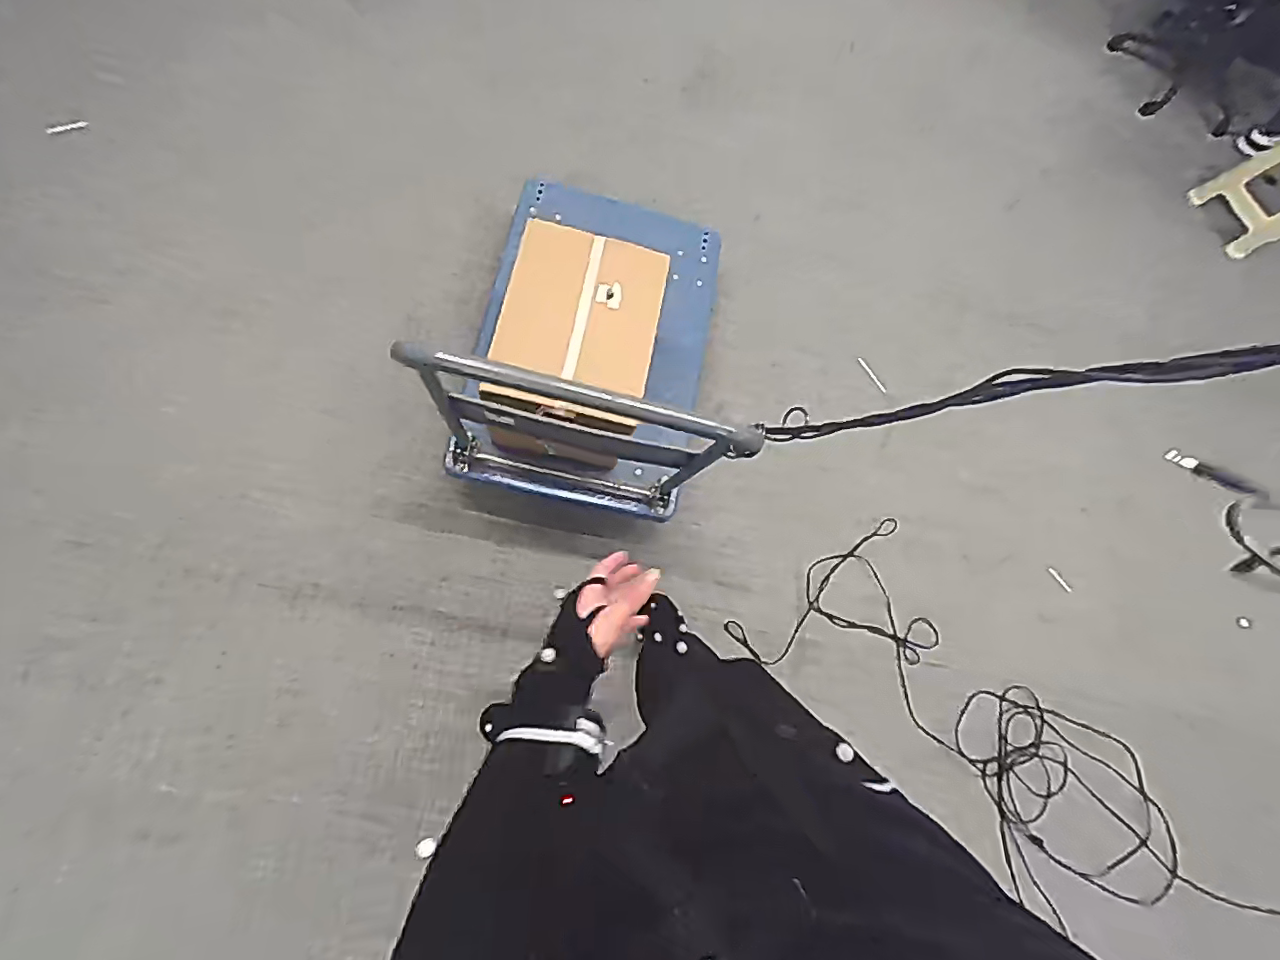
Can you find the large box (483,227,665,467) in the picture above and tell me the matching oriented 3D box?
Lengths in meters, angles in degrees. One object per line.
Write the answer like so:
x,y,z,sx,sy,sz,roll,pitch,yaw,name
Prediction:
-0.147,-0.280,1.242,0.320,0.320,0.408,13,73,-8,large box
